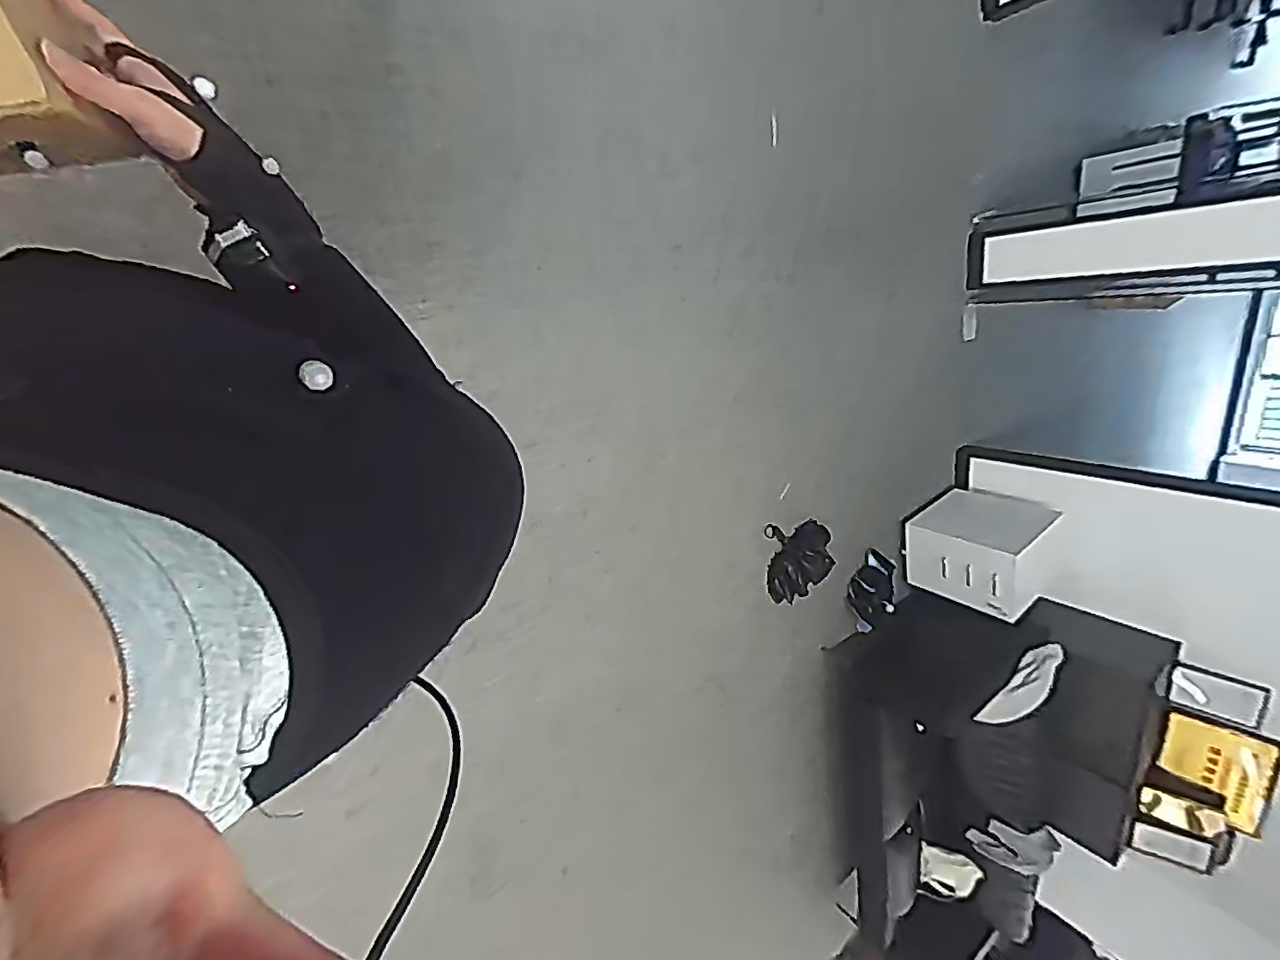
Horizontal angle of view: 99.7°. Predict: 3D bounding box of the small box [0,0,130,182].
[{"bbox_3d":[-0.467,-0.281,0.321,0.168,0.176,0.179,-23,117,-19],"label":"small box"}]
